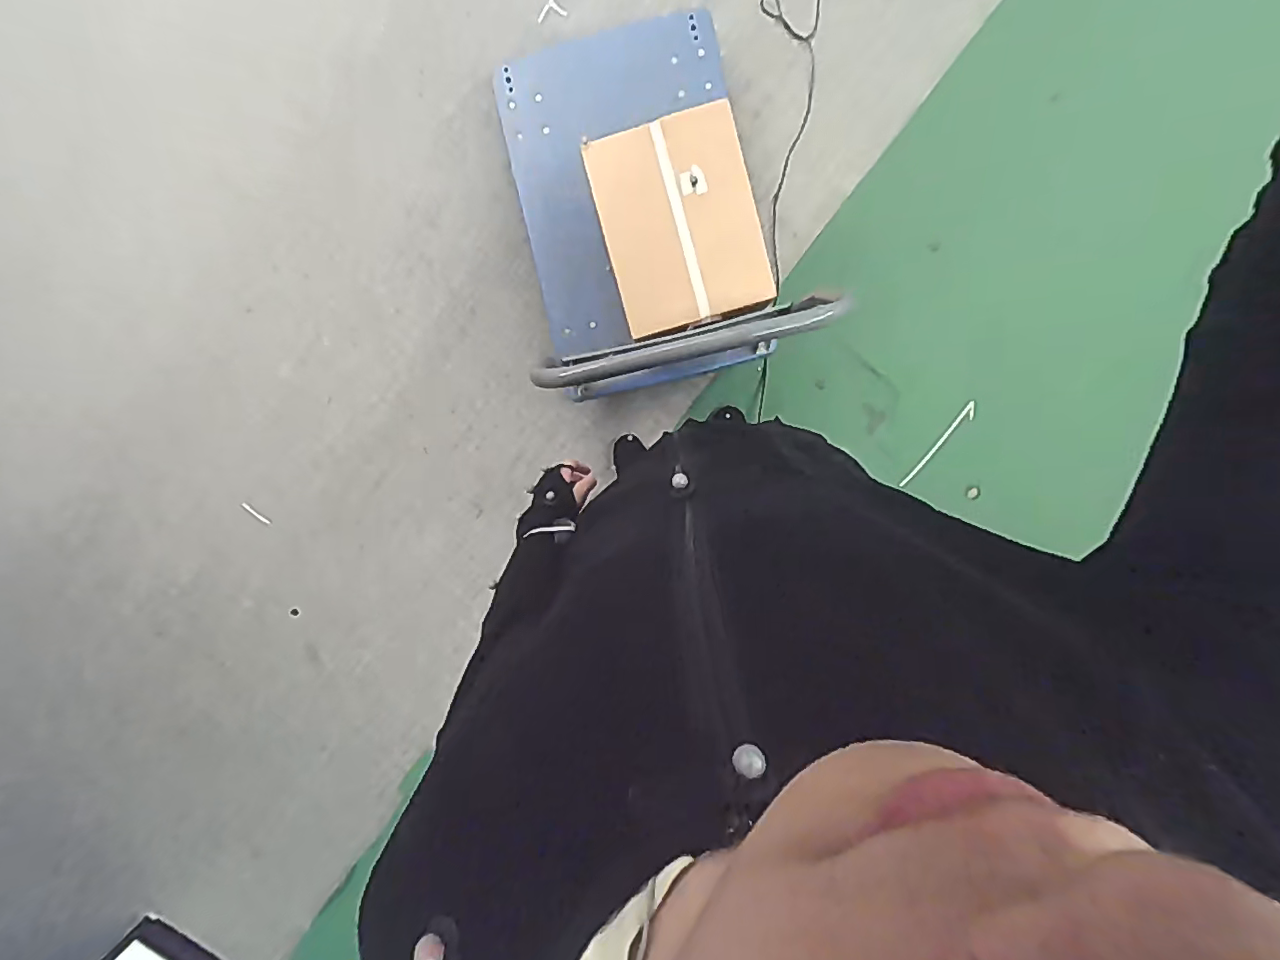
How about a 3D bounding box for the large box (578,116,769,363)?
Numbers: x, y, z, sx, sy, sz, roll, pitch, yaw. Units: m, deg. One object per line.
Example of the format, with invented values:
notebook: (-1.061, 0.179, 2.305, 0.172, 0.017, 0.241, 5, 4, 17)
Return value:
large box: (0.079, -0.530, 1.280, 0.320, 0.320, 0.408, -16, 94, 2)
